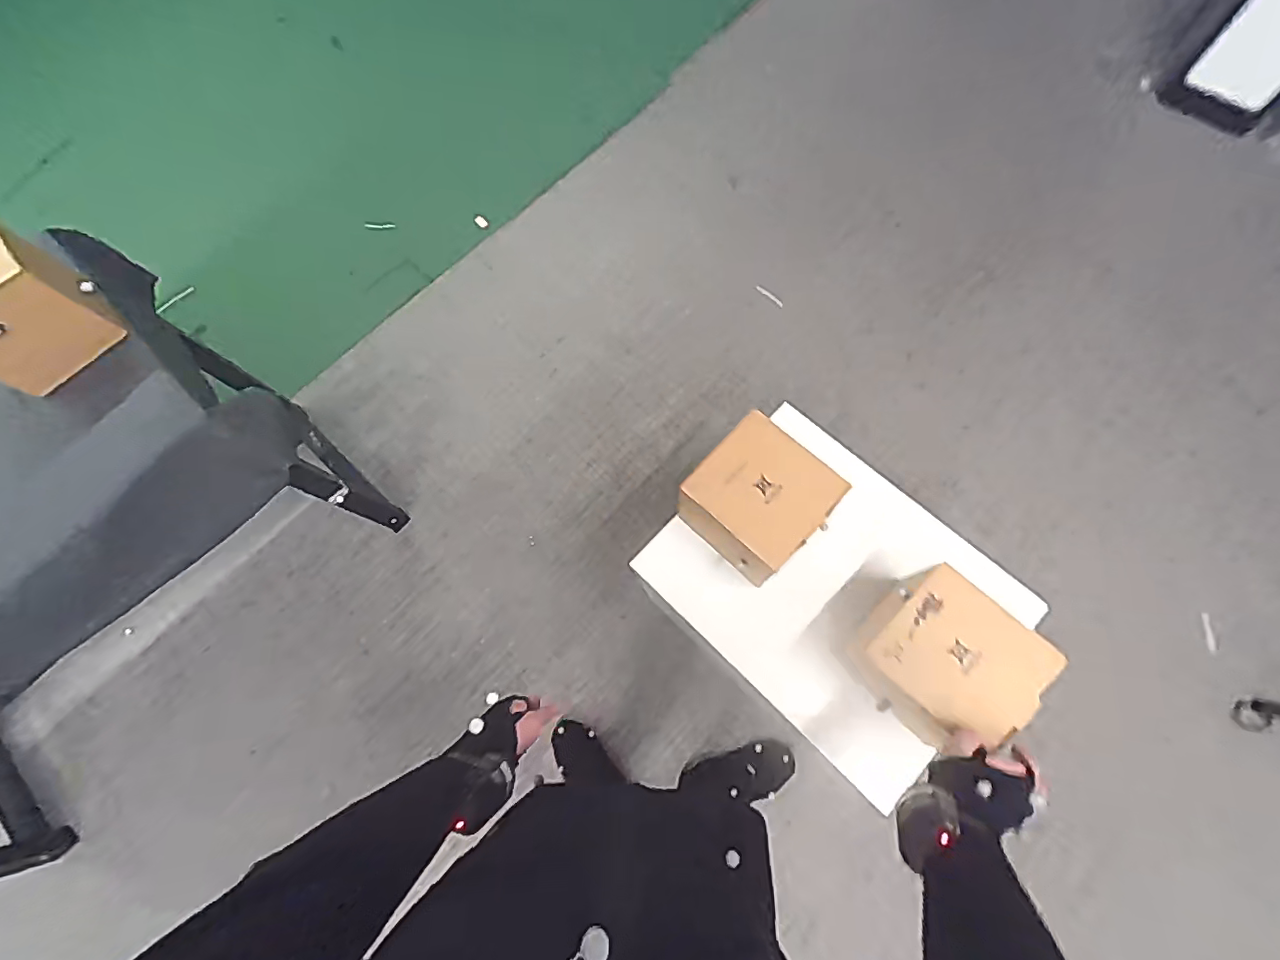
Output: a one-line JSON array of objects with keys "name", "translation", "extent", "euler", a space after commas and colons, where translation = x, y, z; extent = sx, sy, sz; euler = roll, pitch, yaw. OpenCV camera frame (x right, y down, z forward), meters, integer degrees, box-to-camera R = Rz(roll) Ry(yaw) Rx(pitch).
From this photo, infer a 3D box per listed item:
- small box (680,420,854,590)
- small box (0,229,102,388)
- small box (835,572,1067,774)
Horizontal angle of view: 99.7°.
[{"name": "small box", "translation": [0.178, 0.048, 0.812], "extent": [0.179, 0.176, 0.168], "euler": [41, 75, 15]}, {"name": "small box", "translation": [-1.006, -0.275, 0.826], "extent": [0.179, 0.176, 0.168], "euler": [-43, 75, -13]}, {"name": "small box", "translation": [0.401, 0.252, 0.730], "extent": [0.168, 0.176, 0.179], "euler": [-43, 74, -13]}]
